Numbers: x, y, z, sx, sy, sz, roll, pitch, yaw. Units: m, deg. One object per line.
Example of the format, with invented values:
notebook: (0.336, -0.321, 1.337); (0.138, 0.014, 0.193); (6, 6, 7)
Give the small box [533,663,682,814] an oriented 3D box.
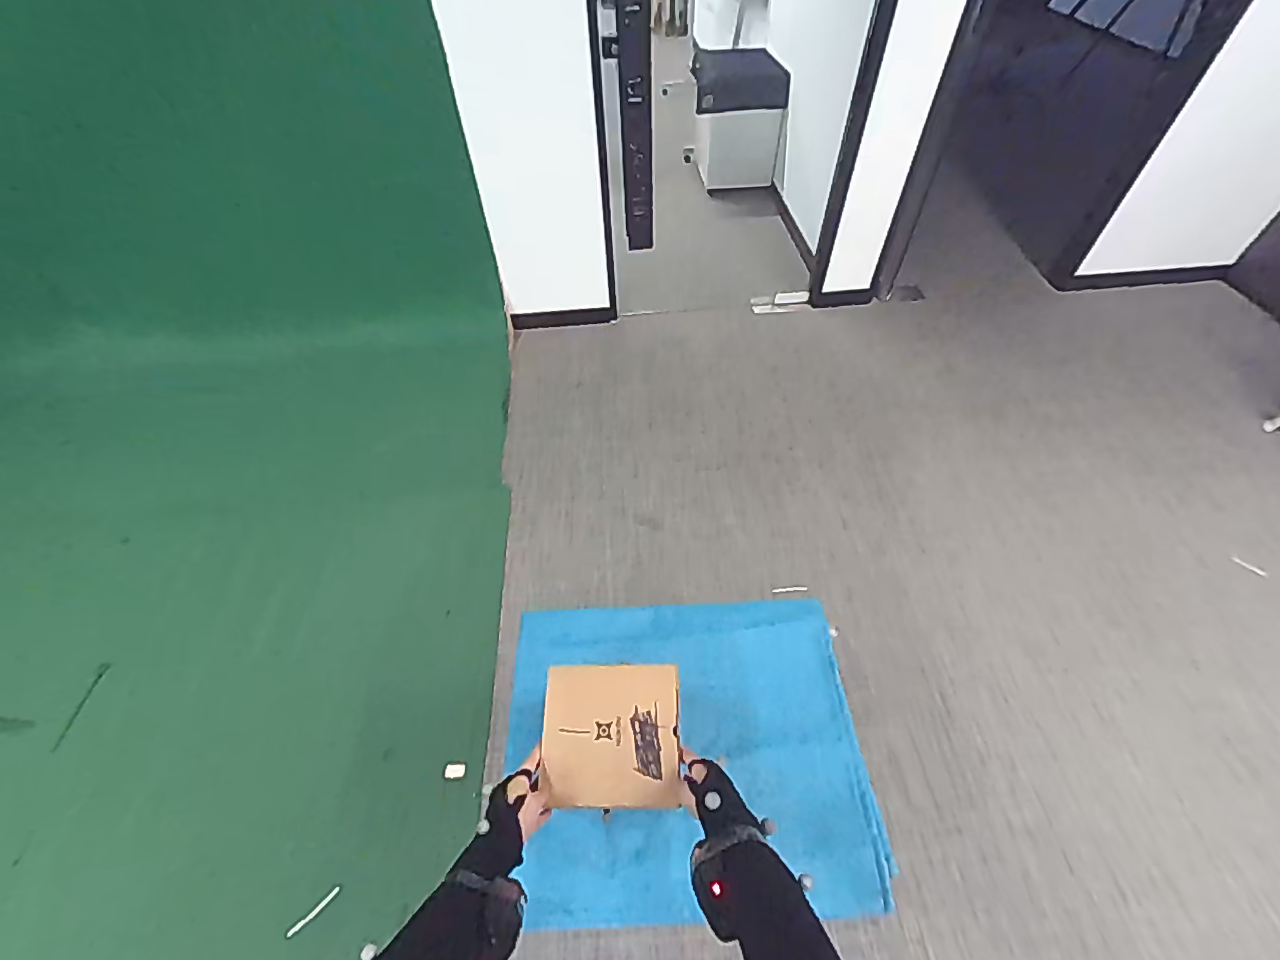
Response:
small box: (-0.035, 0.357, 0.742); (0.179, 0.176, 0.168); (-1, 56, 2)
